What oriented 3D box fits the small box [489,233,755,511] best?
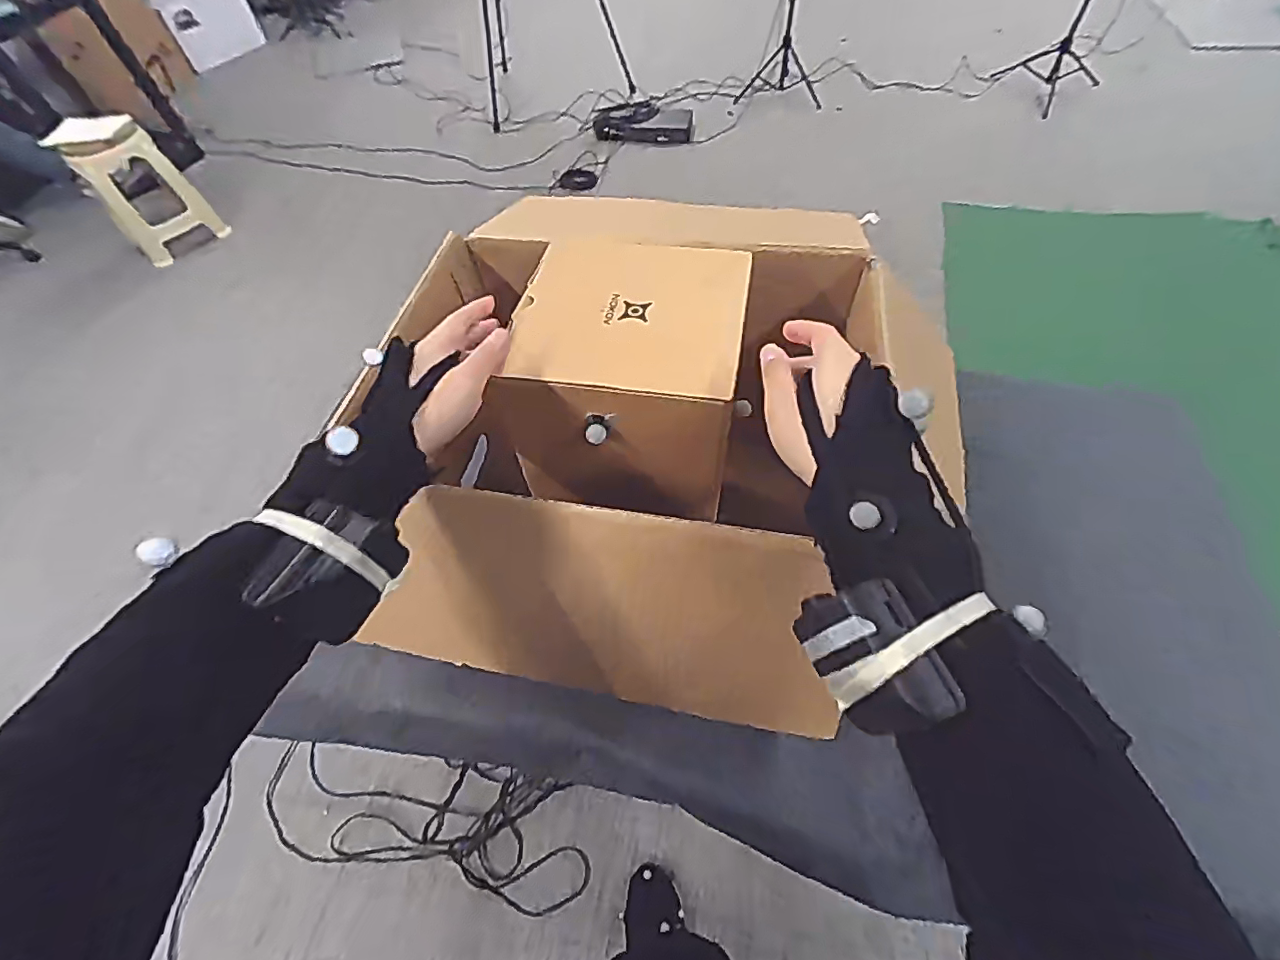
[{"bbox_3d":[-0.003,-0.088,0.476,0.179,0.176,0.168,7,57,8],"label":"small box"}]
